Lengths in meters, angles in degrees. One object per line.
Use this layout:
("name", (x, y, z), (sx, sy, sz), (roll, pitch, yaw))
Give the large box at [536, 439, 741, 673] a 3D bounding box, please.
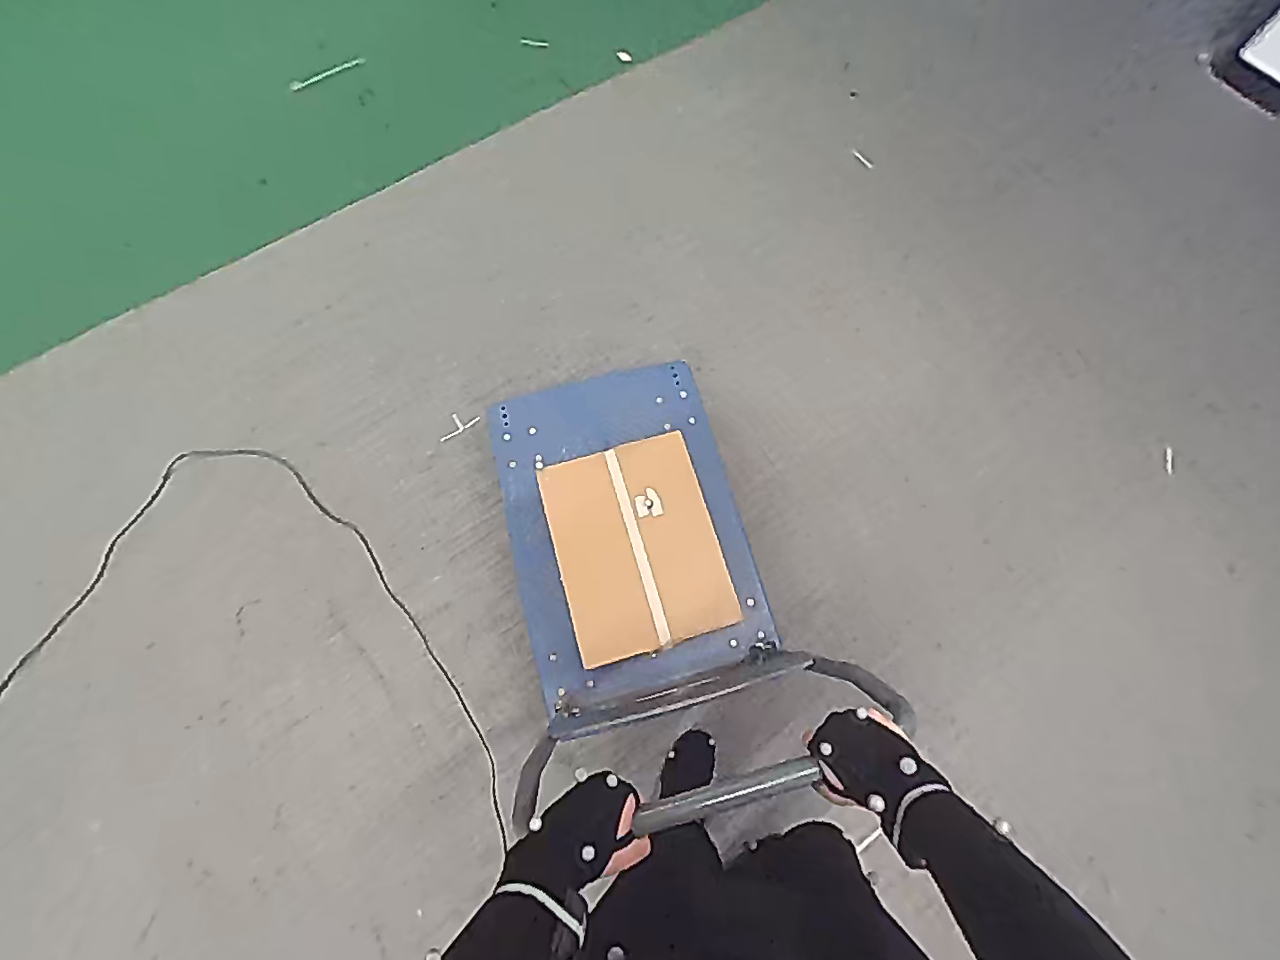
("large box", (-0.008, 0.179, 1.206), (0.320, 0.320, 0.408), (-16, 73, -5))
